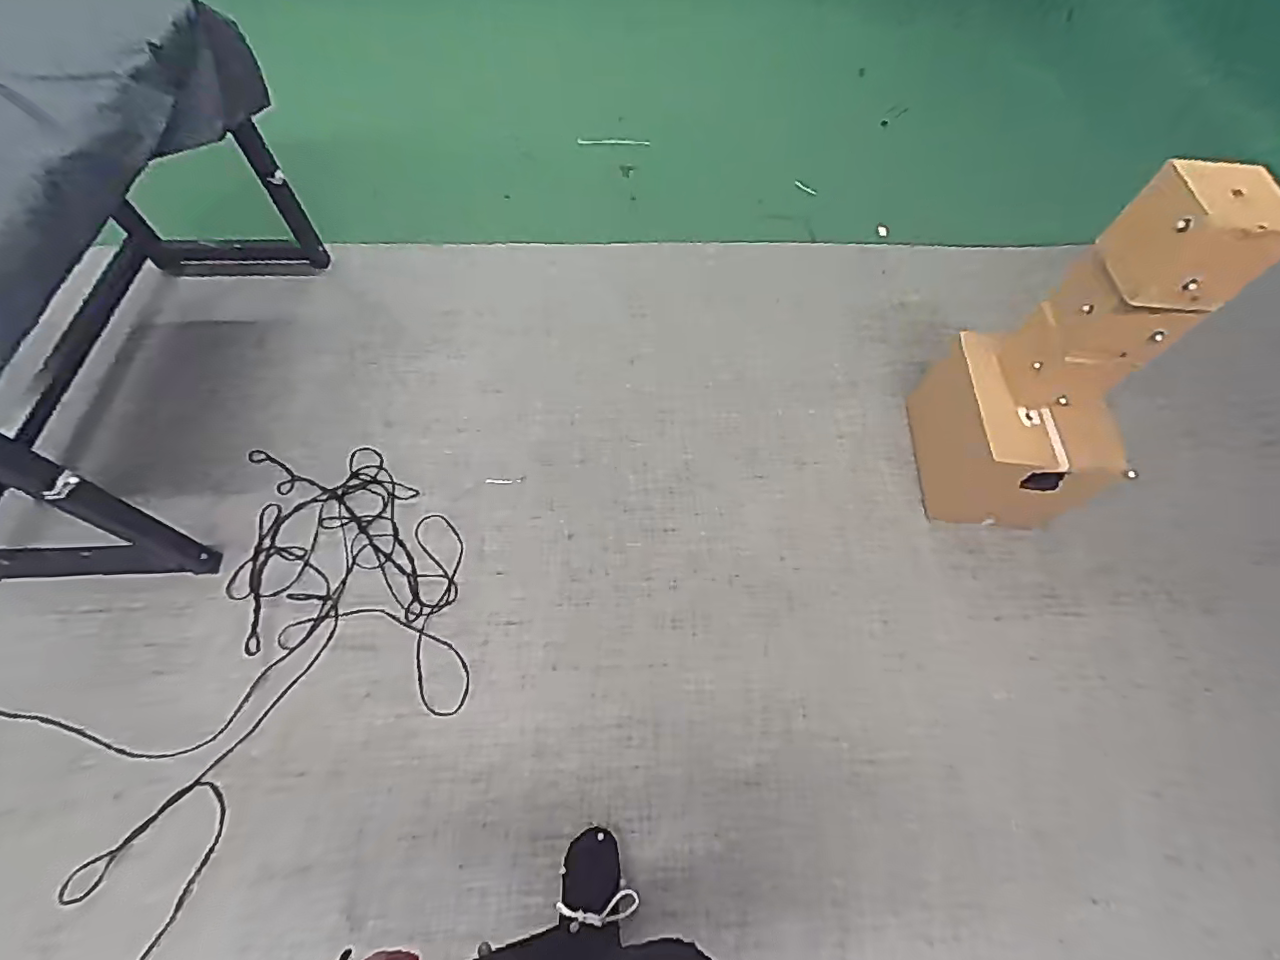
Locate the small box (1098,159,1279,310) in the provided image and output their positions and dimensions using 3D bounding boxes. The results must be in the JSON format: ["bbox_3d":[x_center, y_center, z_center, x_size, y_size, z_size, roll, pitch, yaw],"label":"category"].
[{"bbox_3d":[0.973,-0.431,0.958,0.168,0.176,0.179,3,62,-1],"label":"small box"}]

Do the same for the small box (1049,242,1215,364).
[{"bbox_3d":[0.988,-0.363,1.106,0.168,0.176,0.179,9,60,2],"label":"small box"}]

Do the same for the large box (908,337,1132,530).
[{"bbox_3d":[0.960,-0.119,1.436,0.320,0.320,0.408,4,62,2],"label":"large box"}]
